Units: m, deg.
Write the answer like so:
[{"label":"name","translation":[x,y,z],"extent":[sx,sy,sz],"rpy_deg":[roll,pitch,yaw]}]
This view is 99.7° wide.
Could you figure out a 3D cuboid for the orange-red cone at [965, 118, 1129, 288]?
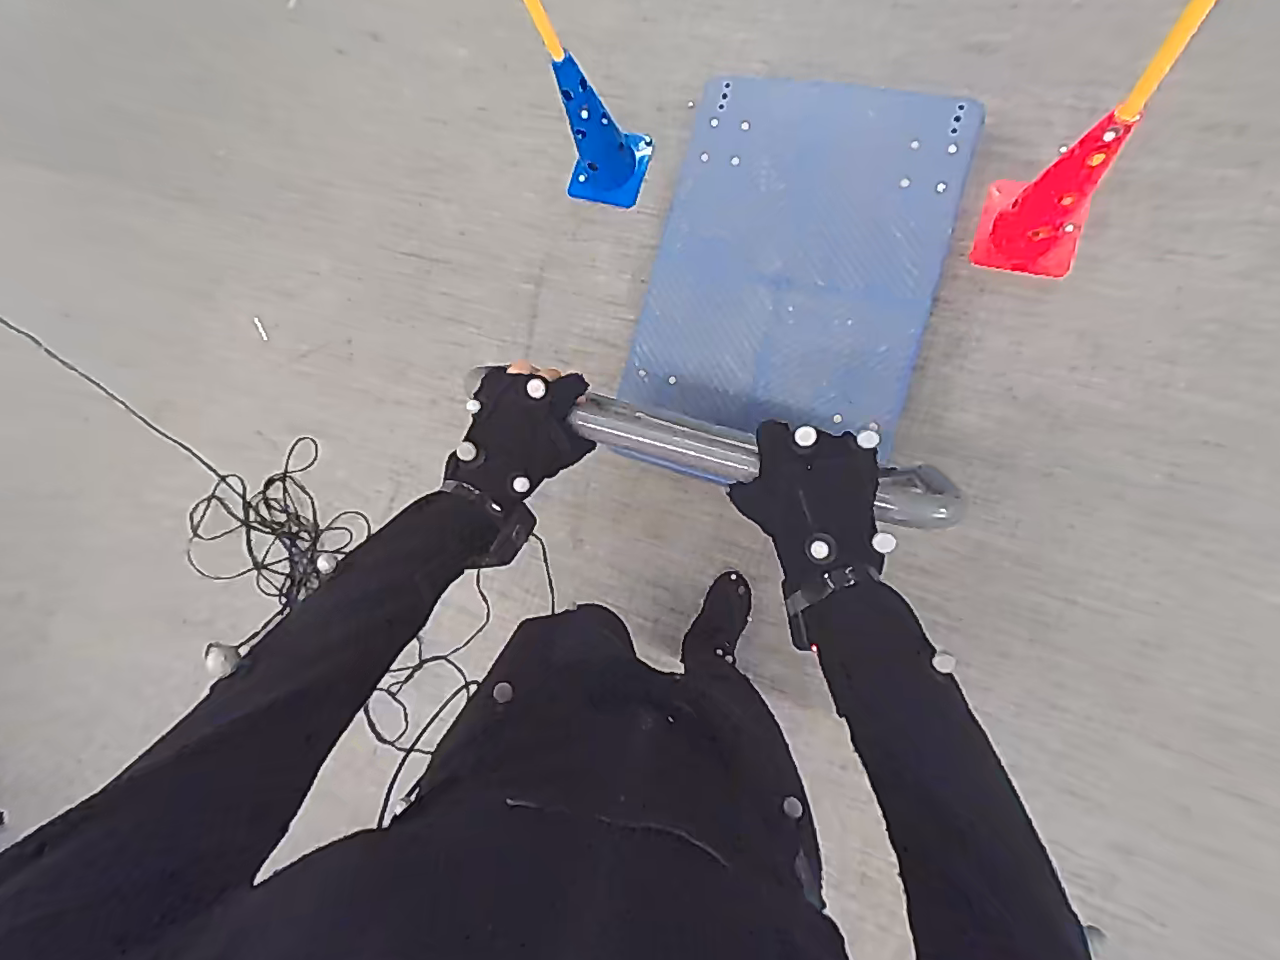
[{"label":"orange-red cone","translation":[0.812,-0.552,1.044],"extent":[0.199,0.360,0.198],"rpy_deg":[18,89,16]}]
